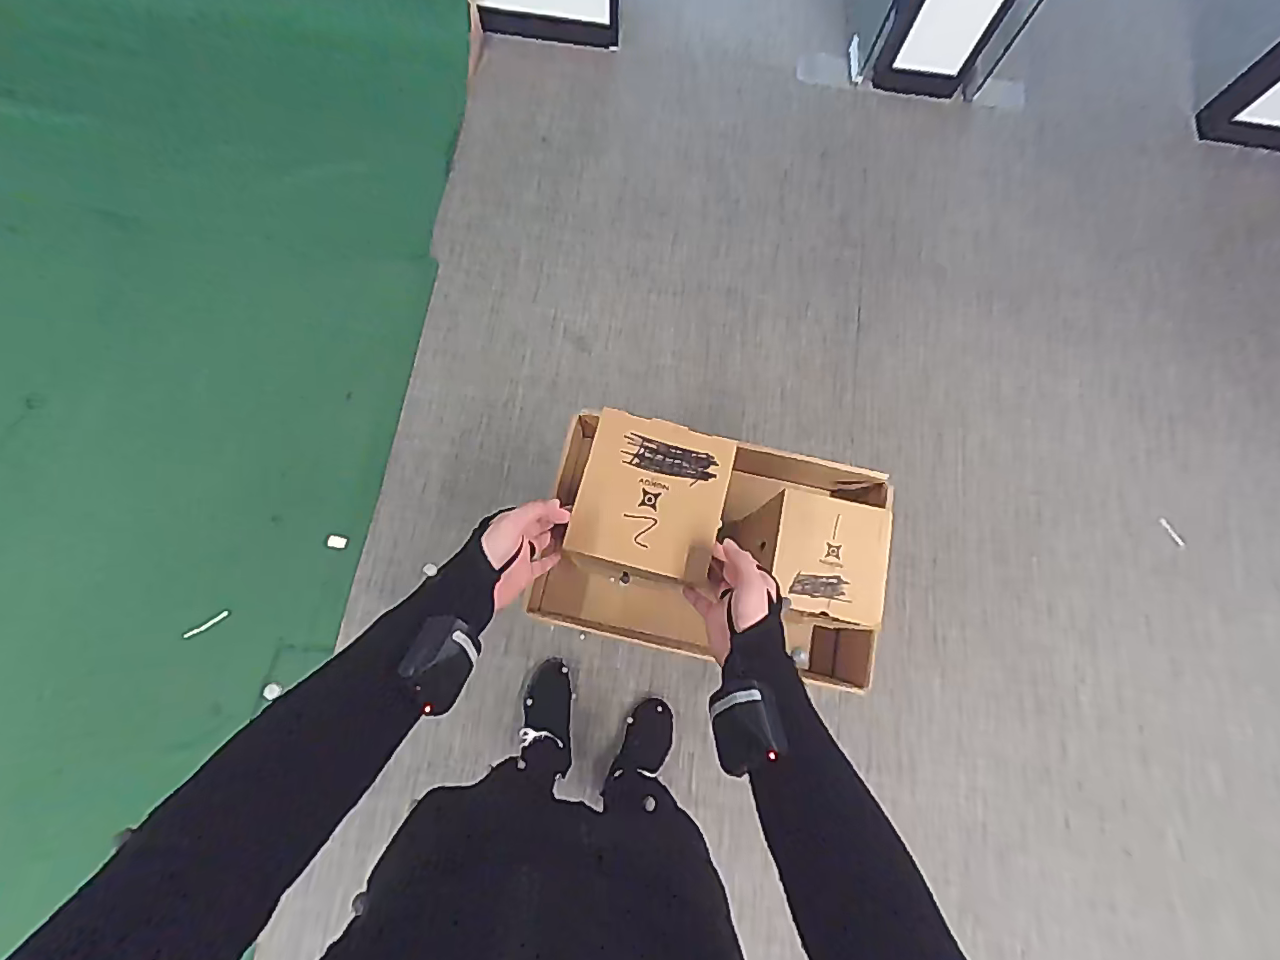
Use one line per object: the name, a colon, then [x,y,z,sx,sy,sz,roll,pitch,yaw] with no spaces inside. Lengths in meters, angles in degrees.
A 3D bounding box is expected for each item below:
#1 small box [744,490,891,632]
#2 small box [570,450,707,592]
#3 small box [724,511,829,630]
small box: [0.269,0.133,0.852,0.168,0.176,0.179,13,75,1]
small box: [-0.002,0.074,0.855,0.168,0.176,0.179,14,76,1]
small box: [0.262,0.173,1.012,0.168,0.176,0.179,13,76,1]
